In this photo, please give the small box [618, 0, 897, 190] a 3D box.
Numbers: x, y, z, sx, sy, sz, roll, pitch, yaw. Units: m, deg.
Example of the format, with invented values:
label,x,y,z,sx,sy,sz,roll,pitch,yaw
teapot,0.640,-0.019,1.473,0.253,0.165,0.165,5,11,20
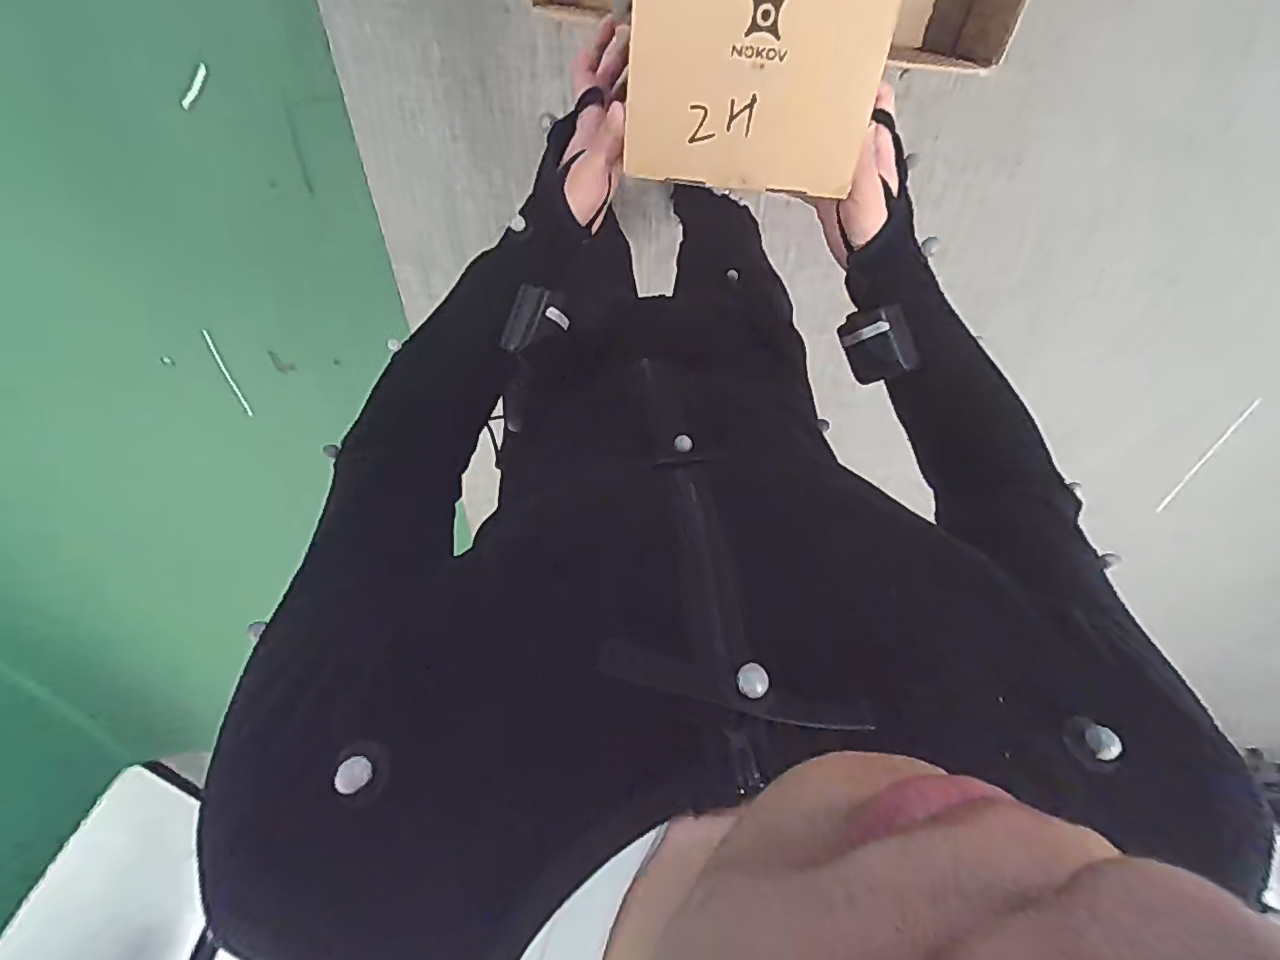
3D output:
label,x,y,z,sx,sy,sz,roll,pitch,yaw
small box,0.076,-0.329,0.401,0.168,0.176,0.179,6,124,0
